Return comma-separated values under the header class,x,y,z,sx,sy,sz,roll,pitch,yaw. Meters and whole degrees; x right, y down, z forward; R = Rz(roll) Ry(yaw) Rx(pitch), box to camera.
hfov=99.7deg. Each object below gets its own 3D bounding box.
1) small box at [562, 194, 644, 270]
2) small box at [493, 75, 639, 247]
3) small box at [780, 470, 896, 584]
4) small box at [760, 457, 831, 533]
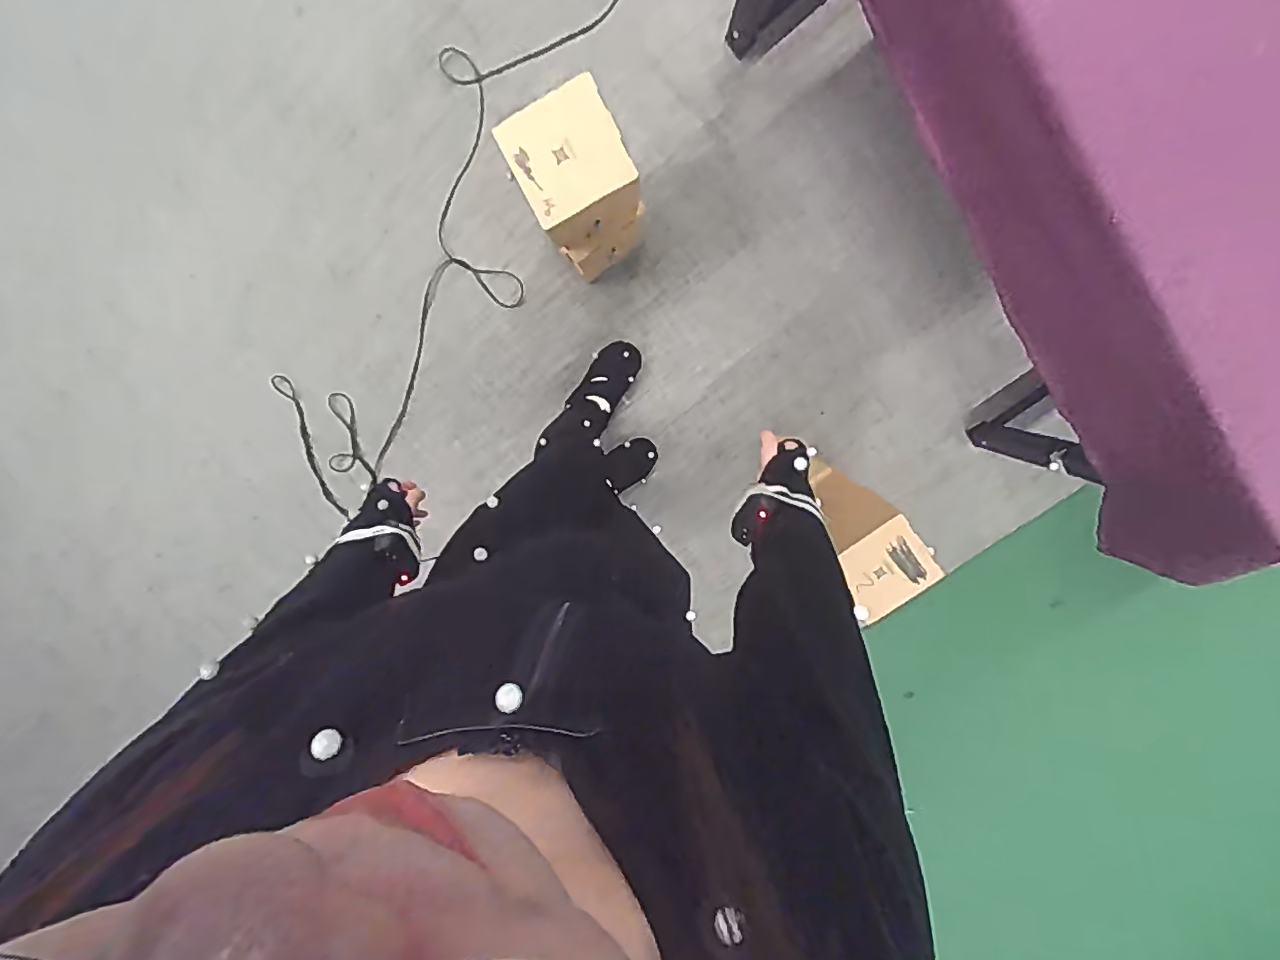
class,x,y,z,sx,sy,sz,roll,pitch,yaw
small box,-0.108,-0.545,1.076,0.168,0.176,0.179,-34,103,8
small box,-0.117,-0.522,0.912,0.179,0.176,0.168,-27,103,5
small box,0.447,0.103,1.258,0.179,0.176,0.168,-36,104,8
small box,0.438,0.055,1.414,0.168,0.176,0.179,-38,103,9
